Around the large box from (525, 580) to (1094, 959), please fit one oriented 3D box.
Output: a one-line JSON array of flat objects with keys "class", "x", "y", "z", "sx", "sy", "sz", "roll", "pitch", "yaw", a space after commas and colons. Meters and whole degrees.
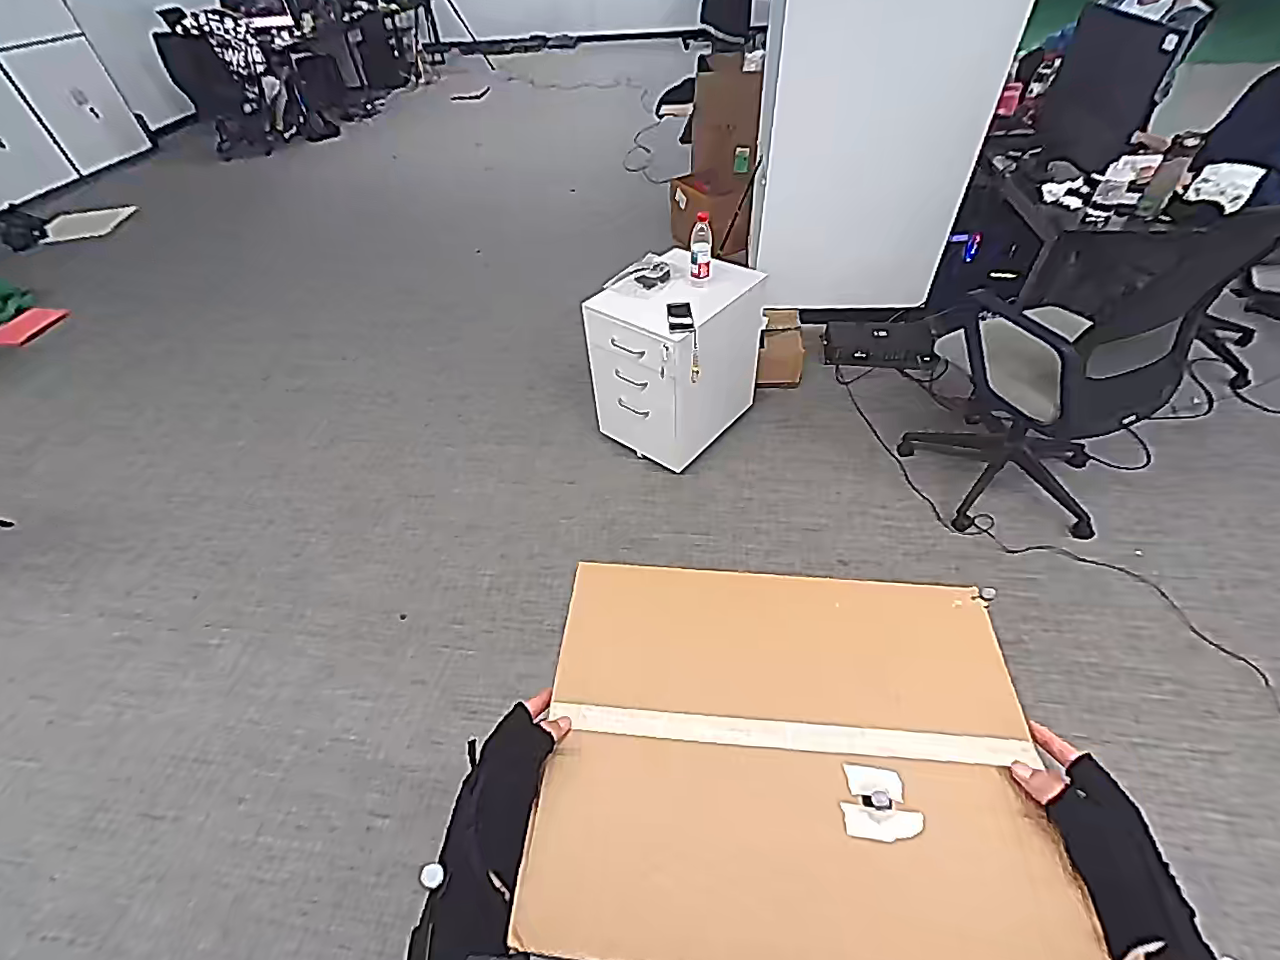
[{"class": "large box", "x": 0.126, "y": 0.327, "z": 0.578, "sx": 0.408, "sy": 0.320, "sz": 0.320, "roll": 3, "pitch": 50, "yaw": 4}]
